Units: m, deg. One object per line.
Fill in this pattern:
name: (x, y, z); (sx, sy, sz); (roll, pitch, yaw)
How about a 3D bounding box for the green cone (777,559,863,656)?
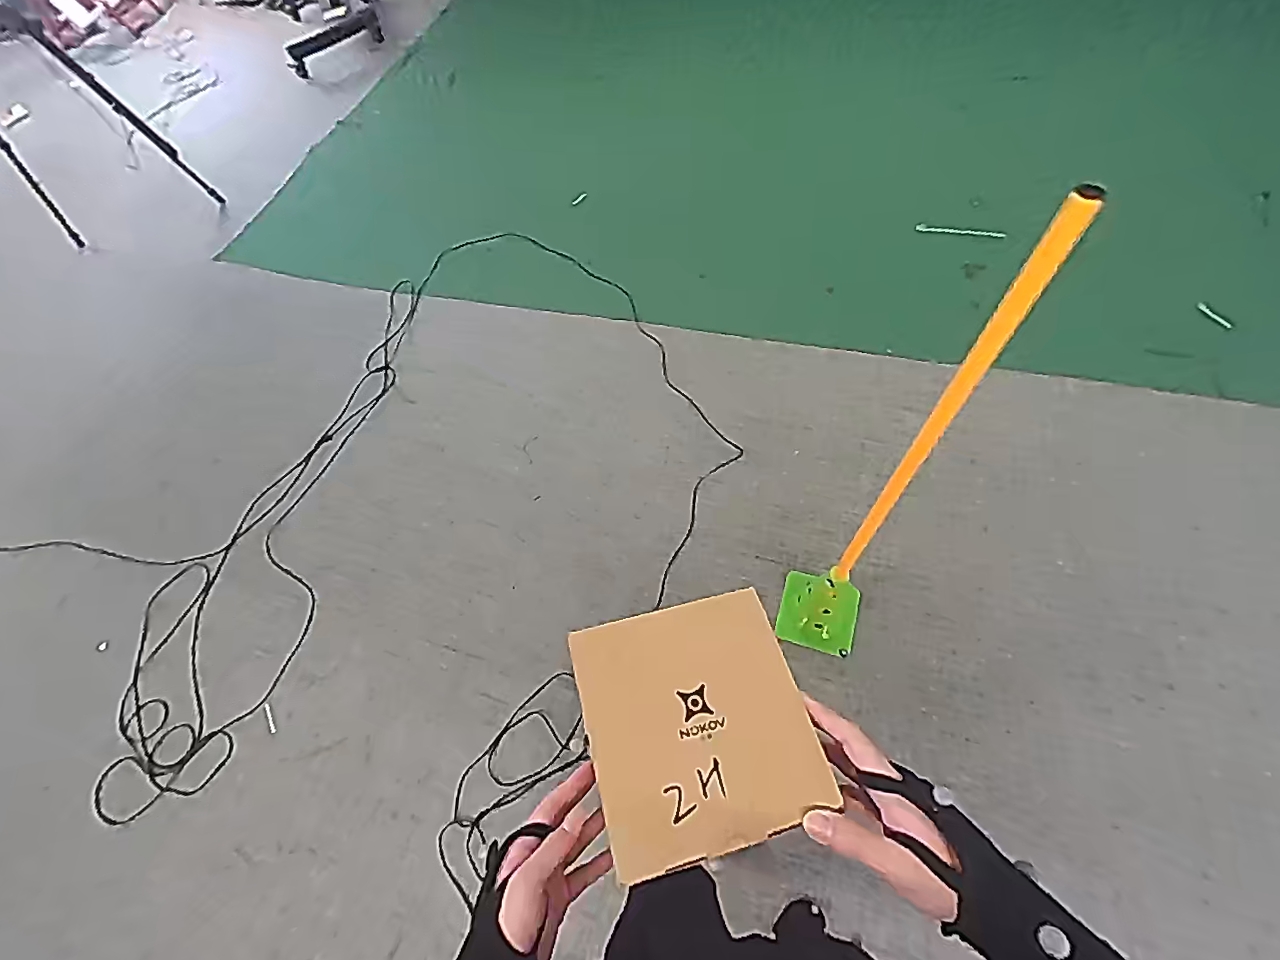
green cone: (0.462, 0.273, 1.320); (0.202, 0.368, 0.200); (13, 64, 17)
